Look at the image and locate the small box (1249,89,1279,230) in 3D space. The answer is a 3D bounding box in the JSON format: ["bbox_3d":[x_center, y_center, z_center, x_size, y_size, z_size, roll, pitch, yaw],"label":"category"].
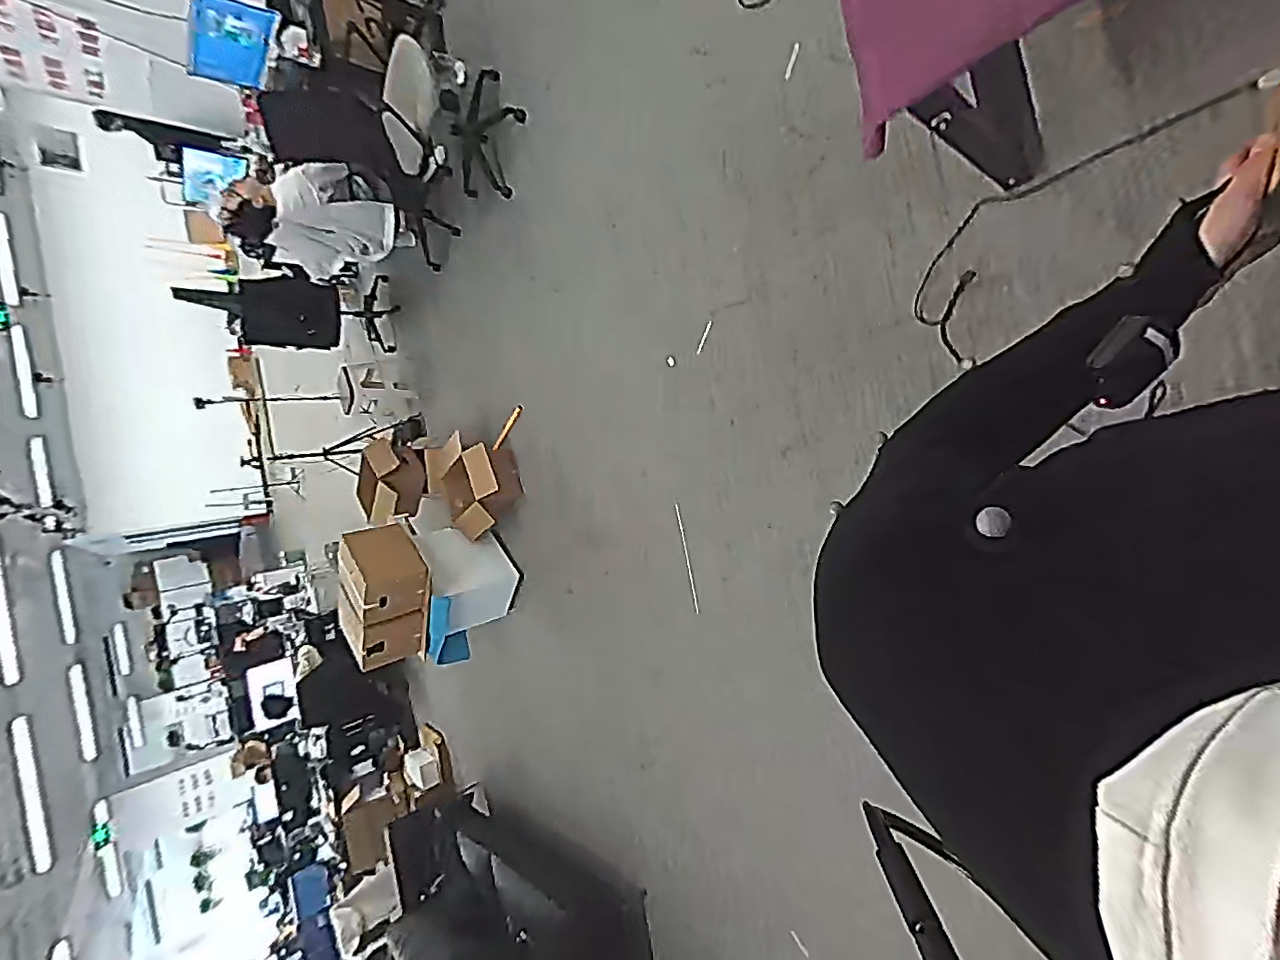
[{"bbox_3d":[0.655,-0.317,0.447,0.179,0.176,0.168,12,108,42],"label":"small box"}]

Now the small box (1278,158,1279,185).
[{"bbox_3d":[0.544,-0.293,0.331,0.179,0.176,0.168,11,108,43],"label":"small box"}]
